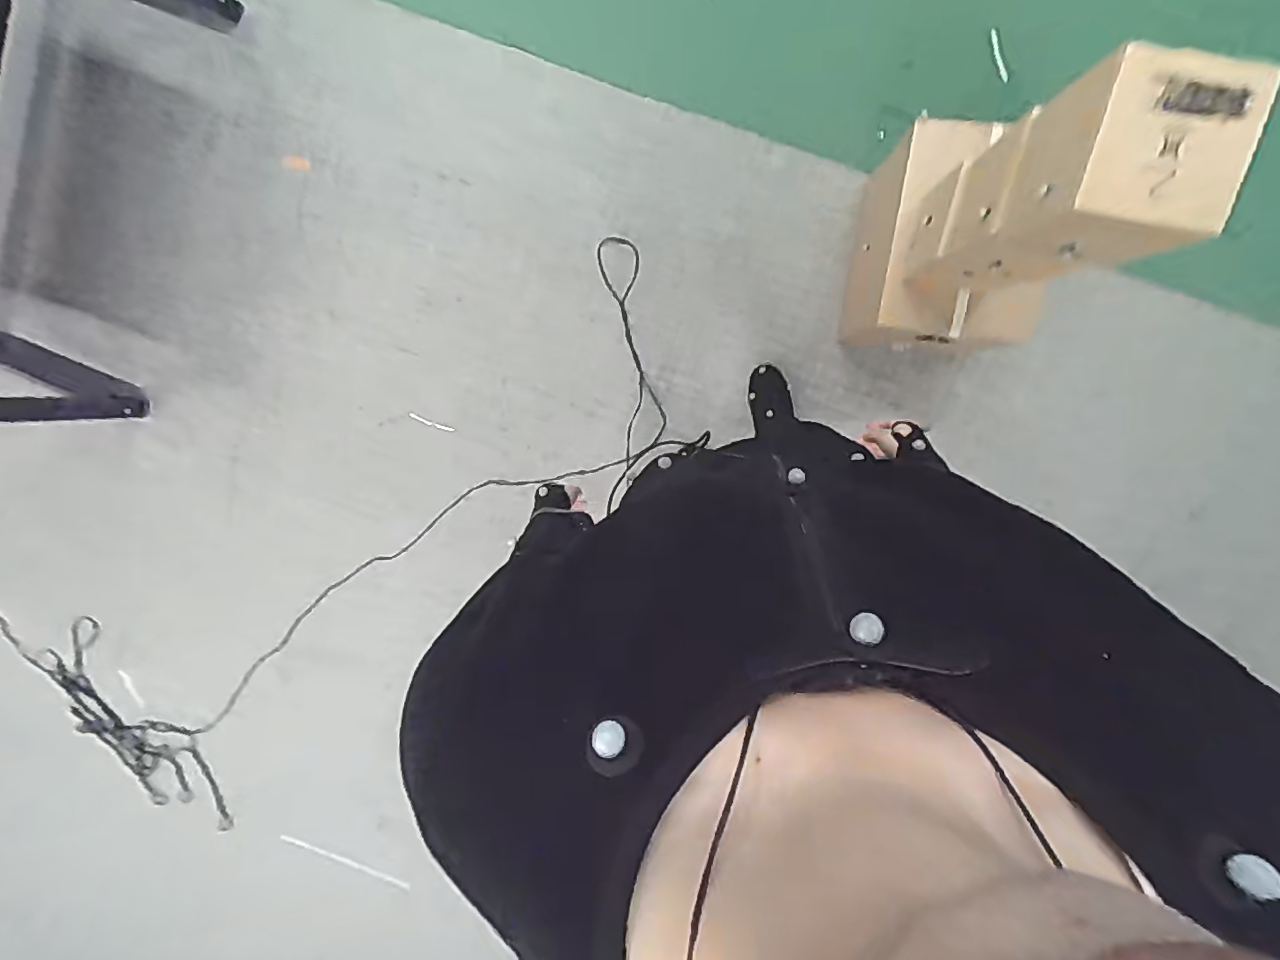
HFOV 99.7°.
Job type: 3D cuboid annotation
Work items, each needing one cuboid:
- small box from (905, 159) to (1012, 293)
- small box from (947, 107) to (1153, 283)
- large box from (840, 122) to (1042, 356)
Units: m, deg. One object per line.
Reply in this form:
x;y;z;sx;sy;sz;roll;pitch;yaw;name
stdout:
0.620;-0.454;0.994;0.179;0.176;0.168;13;100;3;small box
0.611;-0.425;0.835;0.168;0.176;0.179;15;100;3;small box
0.676;-0.511;1.230;0.320;0.320;0.408;8;98;3;large box
